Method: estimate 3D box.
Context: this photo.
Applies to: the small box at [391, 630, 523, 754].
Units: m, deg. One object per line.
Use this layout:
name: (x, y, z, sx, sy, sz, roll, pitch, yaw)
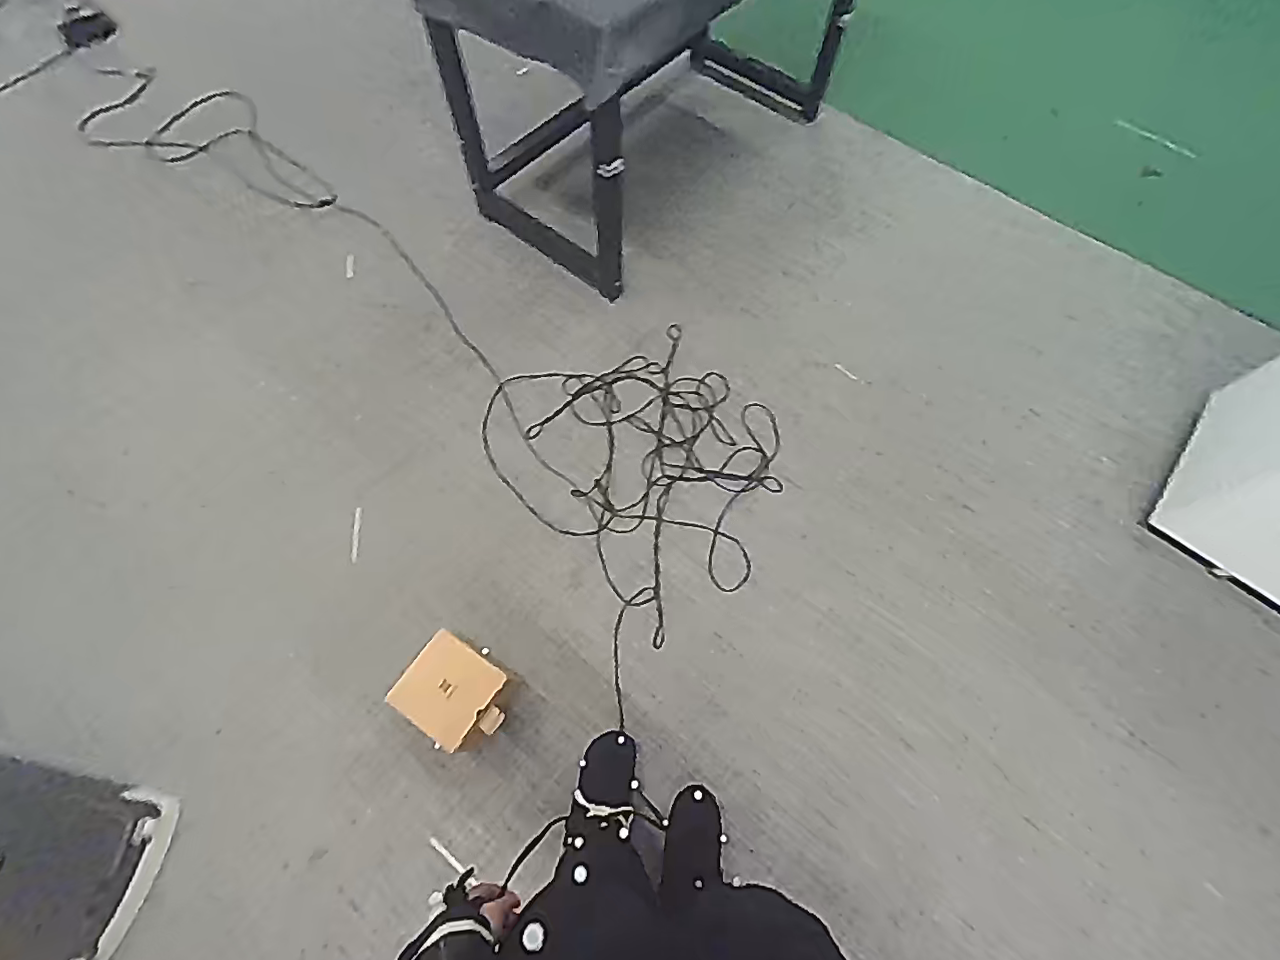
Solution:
small box: (-0.367, 0.439, 1.116, 0.179, 0.176, 0.168, 33, 68, 11)
